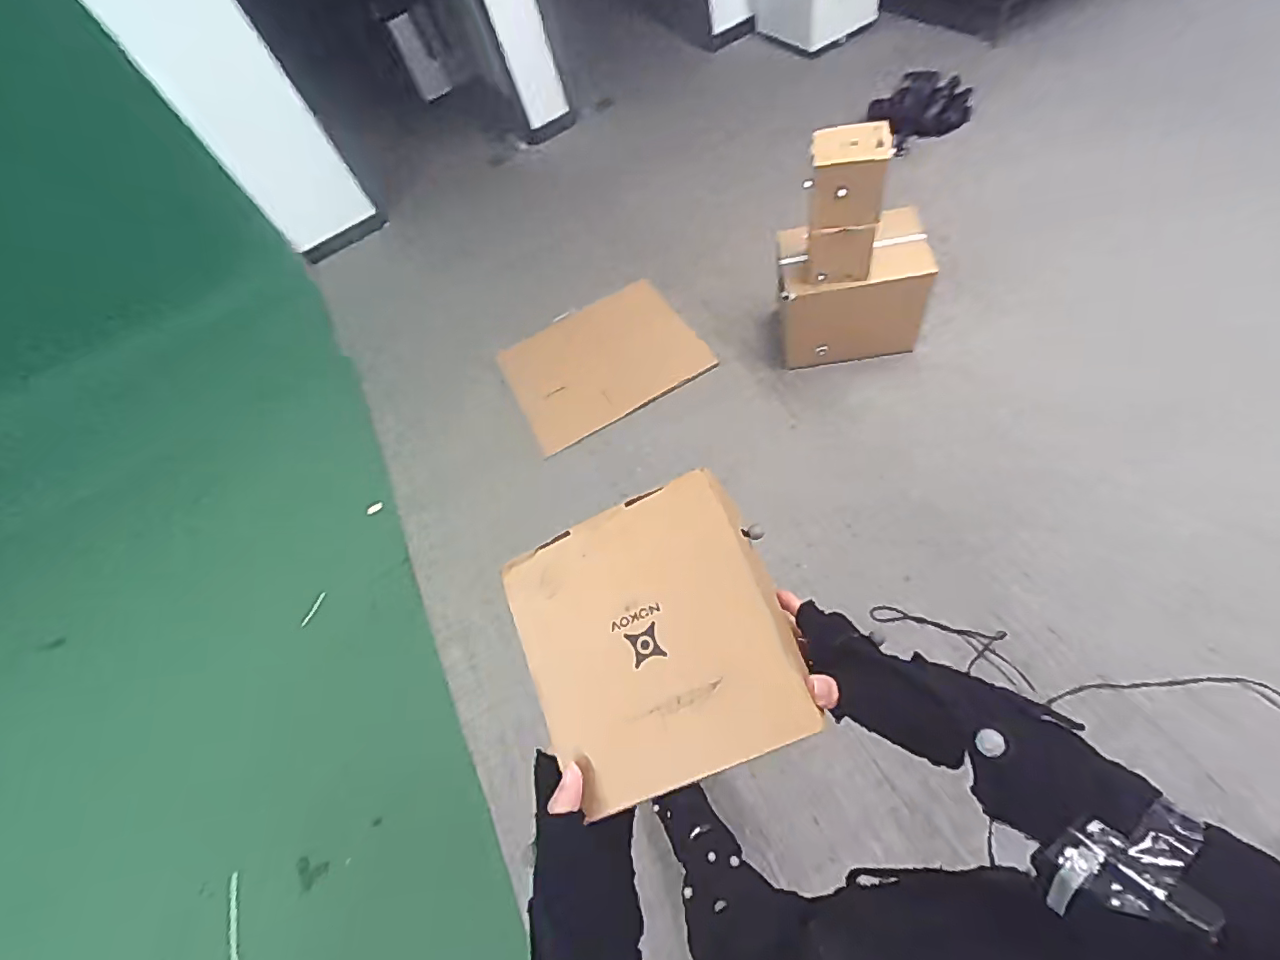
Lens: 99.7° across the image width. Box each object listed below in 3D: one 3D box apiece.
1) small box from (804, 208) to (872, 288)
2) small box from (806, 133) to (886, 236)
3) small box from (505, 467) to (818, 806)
[{"bbox_3d":[0.552,-0.659,1.522,0.168,0.176,0.179,-1,58,15],"label":"small box"},{"bbox_3d":[0.522,-0.754,1.395,0.179,0.176,0.168,-1,56,14],"label":"small box"},{"bbox_3d":[0.025,0.117,0.430,0.168,0.176,0.179,-27,71,11],"label":"small box"}]
